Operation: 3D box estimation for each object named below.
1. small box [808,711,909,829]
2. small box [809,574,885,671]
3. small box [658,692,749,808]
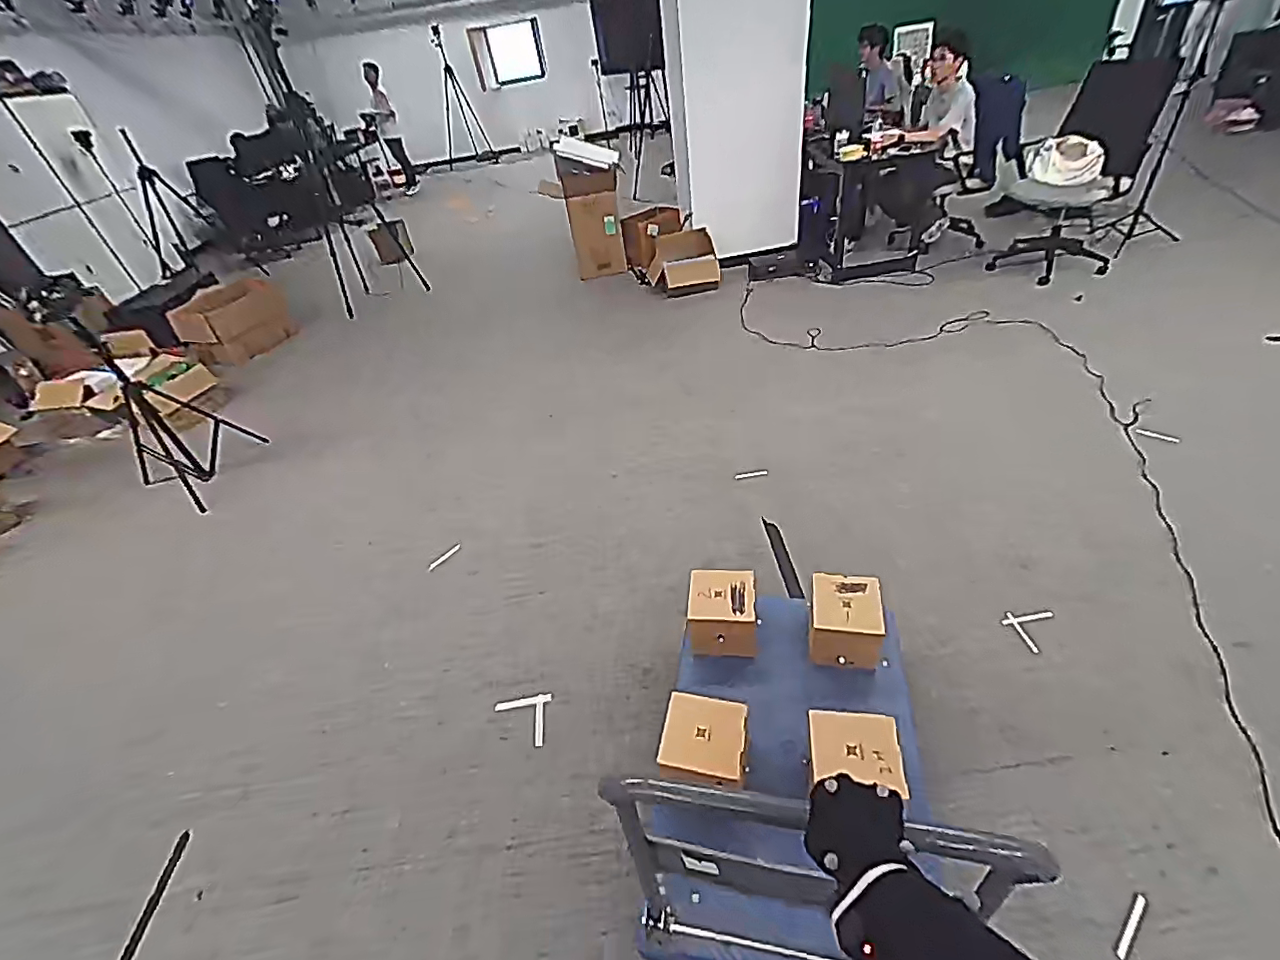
[{"bbox_3d":[0.451,0.615,1.147,0.179,0.176,0.168,0,40,13],"label":"small box"},{"bbox_3d":[0.537,0.372,1.422,0.168,0.176,0.179,2,42,15],"label":"small box"},{"bbox_3d":[0.150,0.611,1.222,0.179,0.176,0.168,5,41,15],"label":"small box"}]
